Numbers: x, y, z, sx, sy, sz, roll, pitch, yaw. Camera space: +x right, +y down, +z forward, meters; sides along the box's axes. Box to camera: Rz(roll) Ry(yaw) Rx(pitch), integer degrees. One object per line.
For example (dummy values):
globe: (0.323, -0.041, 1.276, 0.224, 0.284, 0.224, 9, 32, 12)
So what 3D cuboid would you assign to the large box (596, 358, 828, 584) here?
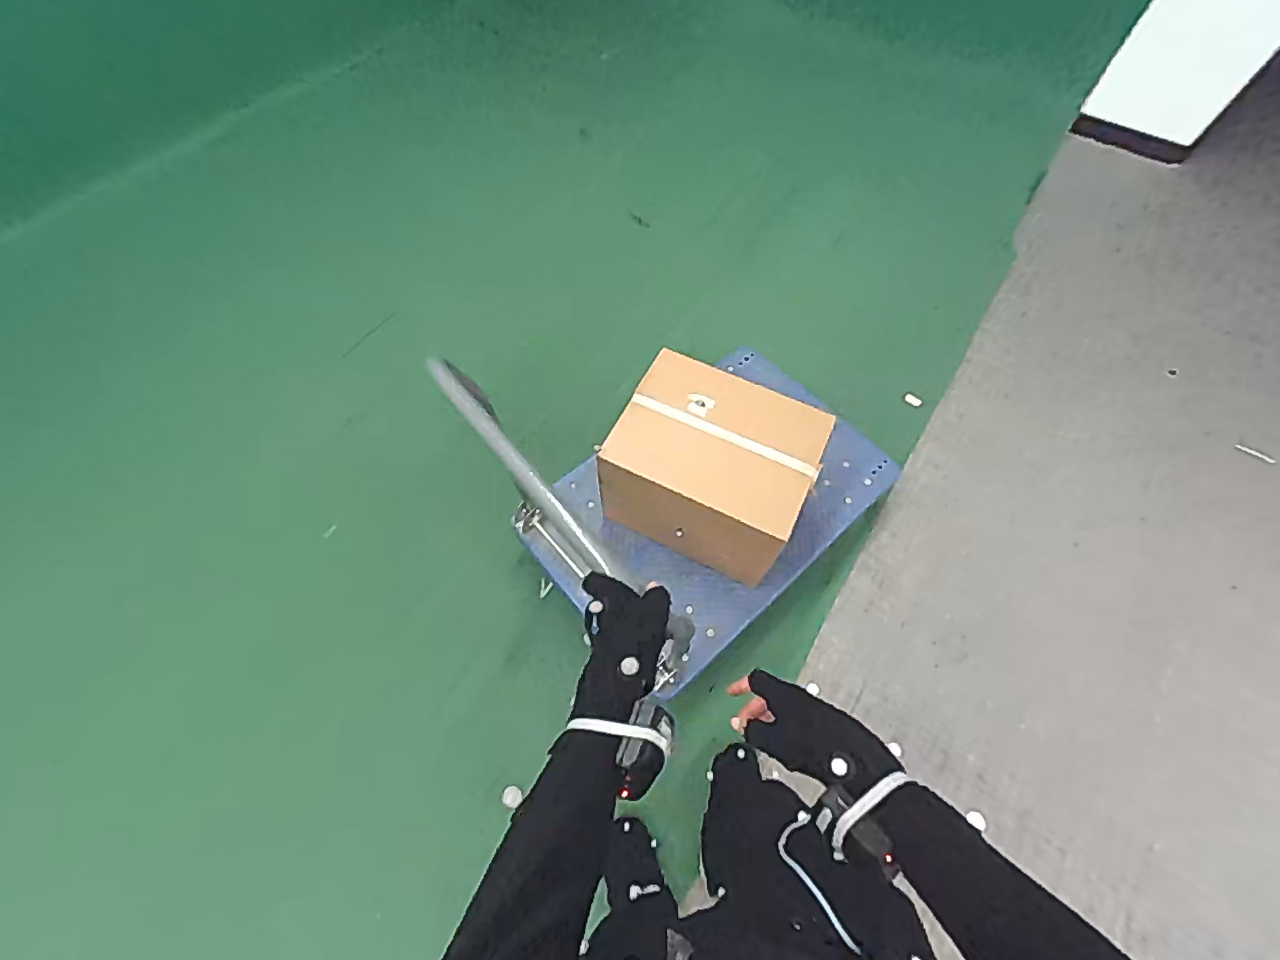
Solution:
large box: (0.157, -0.011, 1.244, 0.408, 0.320, 0.320, 24, 65, 12)
